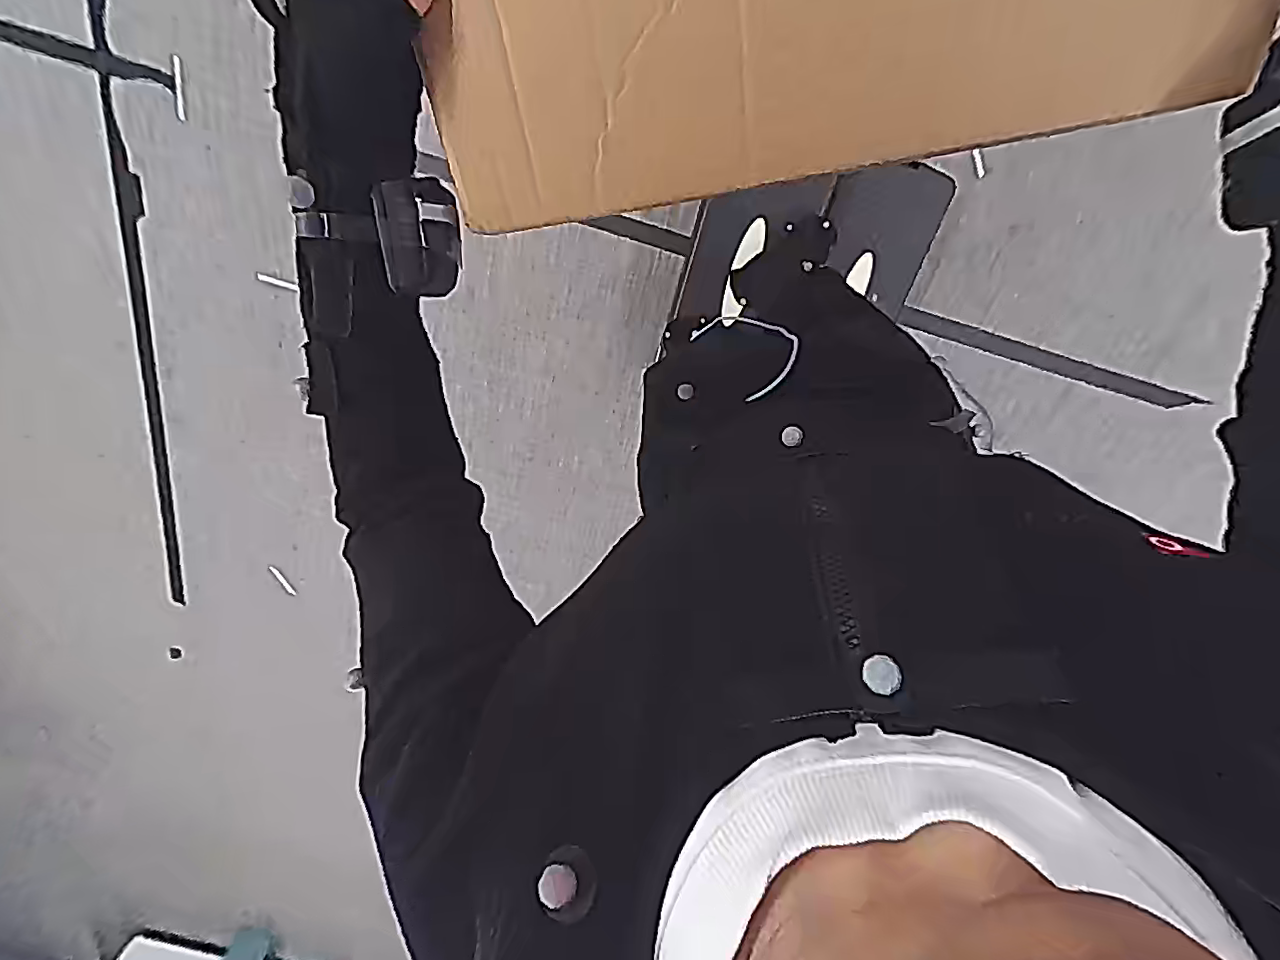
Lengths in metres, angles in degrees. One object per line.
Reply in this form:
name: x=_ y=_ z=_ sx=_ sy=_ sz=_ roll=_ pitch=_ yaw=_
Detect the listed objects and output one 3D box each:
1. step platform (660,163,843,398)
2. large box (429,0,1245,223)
step platform: x=0.264 y=-0.554 z=1.354 sx=0.286 sy=0.204 sz=0.684 roll=15 pitch=113 yaw=-1
large box: x=0.086 y=-0.383 z=0.367 sx=0.408 sy=0.320 sz=0.320 roll=-6 pitch=118 yaw=8
